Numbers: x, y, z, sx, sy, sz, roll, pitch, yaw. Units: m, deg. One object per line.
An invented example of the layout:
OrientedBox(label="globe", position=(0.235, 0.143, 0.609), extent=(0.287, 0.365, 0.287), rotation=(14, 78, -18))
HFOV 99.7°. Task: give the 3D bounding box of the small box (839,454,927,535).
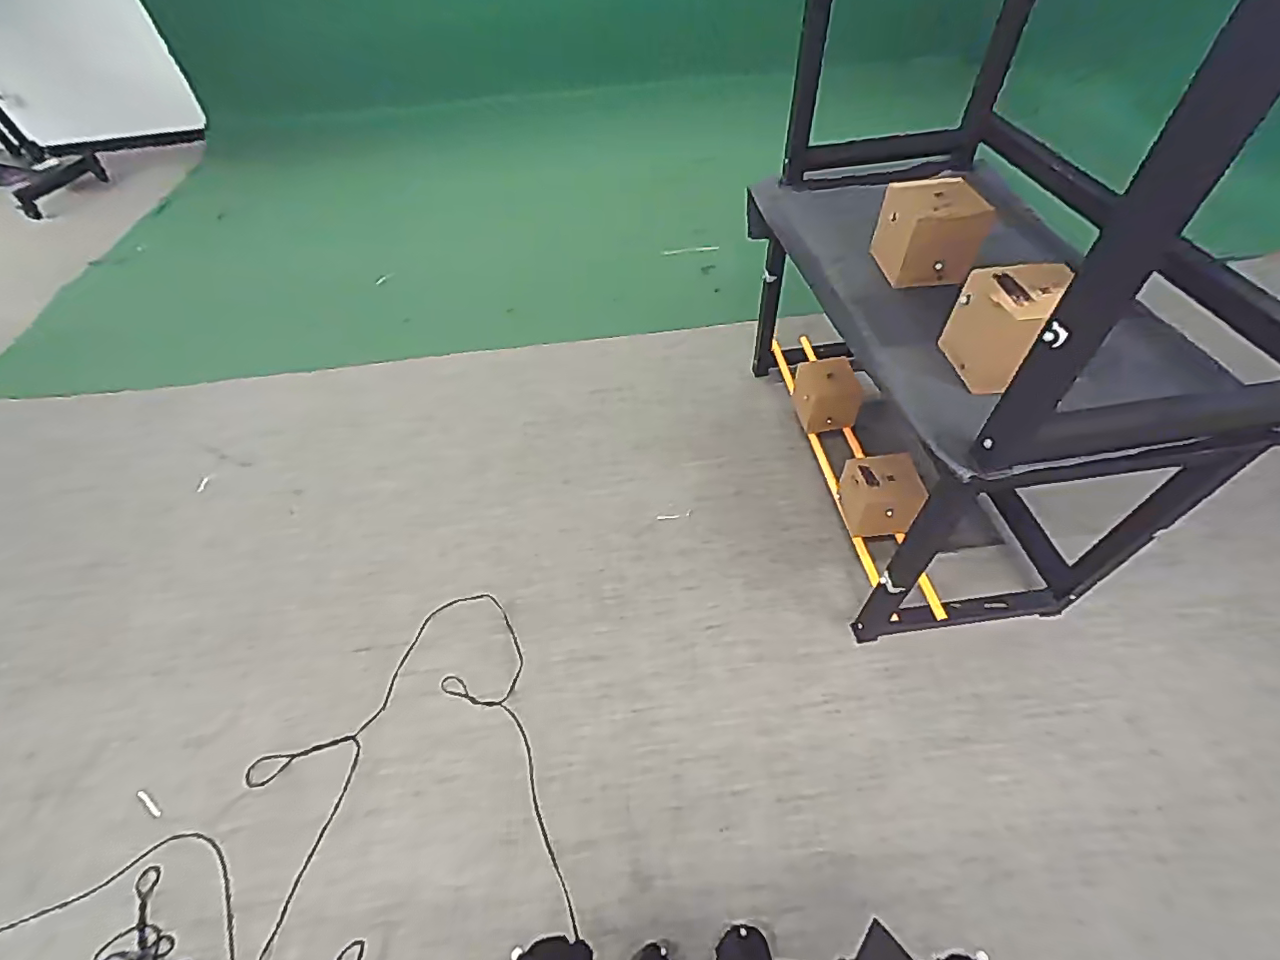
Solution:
OrientedBox(label="small box", position=(0.687, 0.046, 1.560), extent=(0.179, 0.176, 0.168), rotation=(-5, 51, 1))

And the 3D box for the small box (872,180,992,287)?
OrientedBox(label="small box", position=(0.665, -0.571, 1.258), extent=(0.168, 0.176, 0.179), rotation=(-5, 51, 0))
